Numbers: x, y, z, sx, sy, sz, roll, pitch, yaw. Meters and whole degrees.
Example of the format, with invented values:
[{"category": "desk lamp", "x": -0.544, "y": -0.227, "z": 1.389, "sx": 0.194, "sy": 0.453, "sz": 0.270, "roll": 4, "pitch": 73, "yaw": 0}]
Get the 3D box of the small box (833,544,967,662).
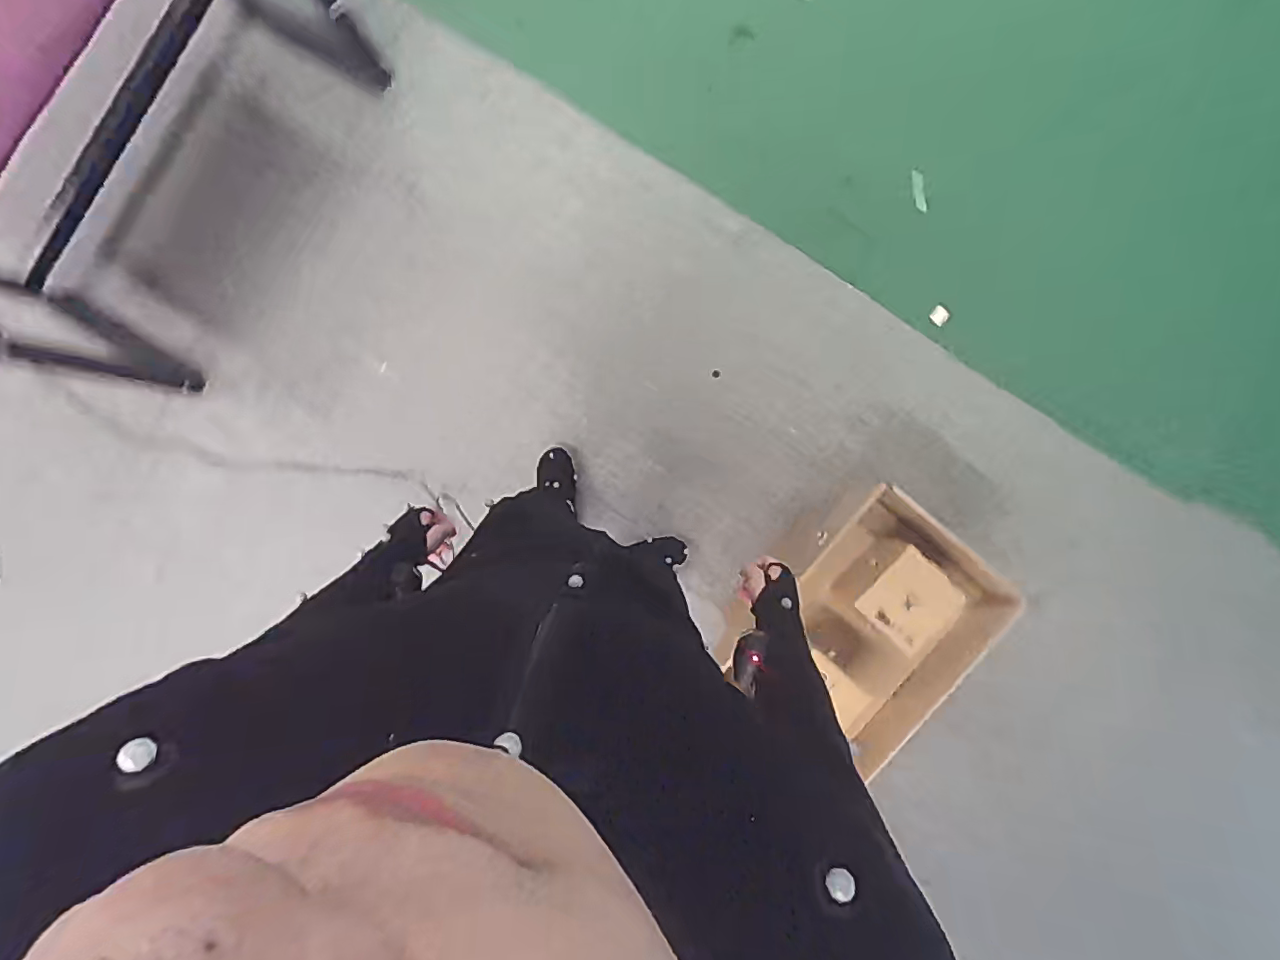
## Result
[{"category": "small box", "x": 0.562, "y": 0.260, "z": 1.195, "sx": 0.168, "sy": 0.176, "sz": 0.179, "roll": 45, "pitch": 91, "yaw": 2}]
